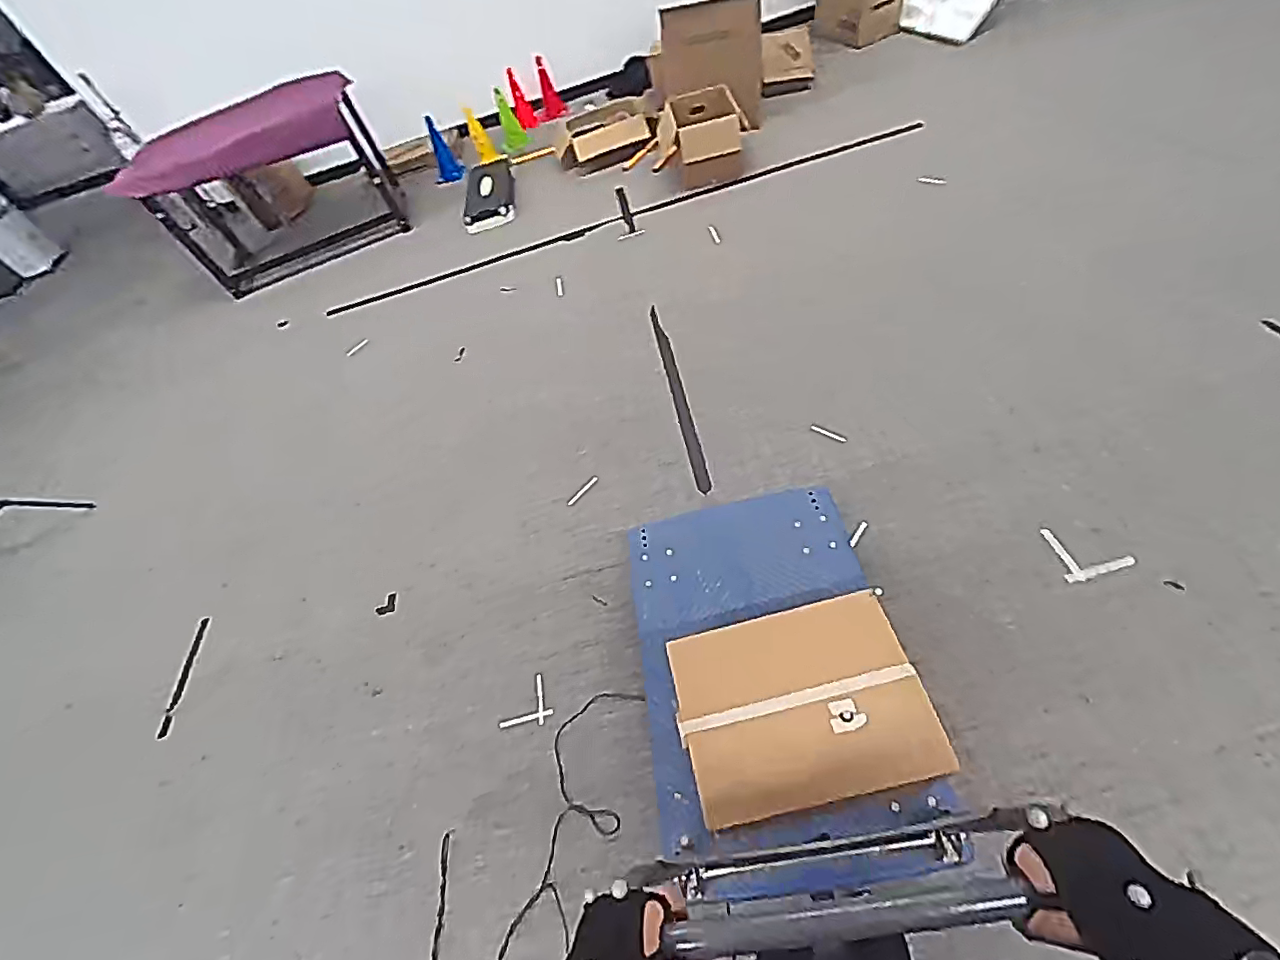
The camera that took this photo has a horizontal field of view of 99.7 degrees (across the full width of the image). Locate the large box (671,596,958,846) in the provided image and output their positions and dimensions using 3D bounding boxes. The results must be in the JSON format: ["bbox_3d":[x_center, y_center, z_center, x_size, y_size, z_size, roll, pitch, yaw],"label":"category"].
[{"bbox_3d":[0.304,0.476,1.048,0.408,0.320,0.320,-15,53,2],"label":"large box"}]
